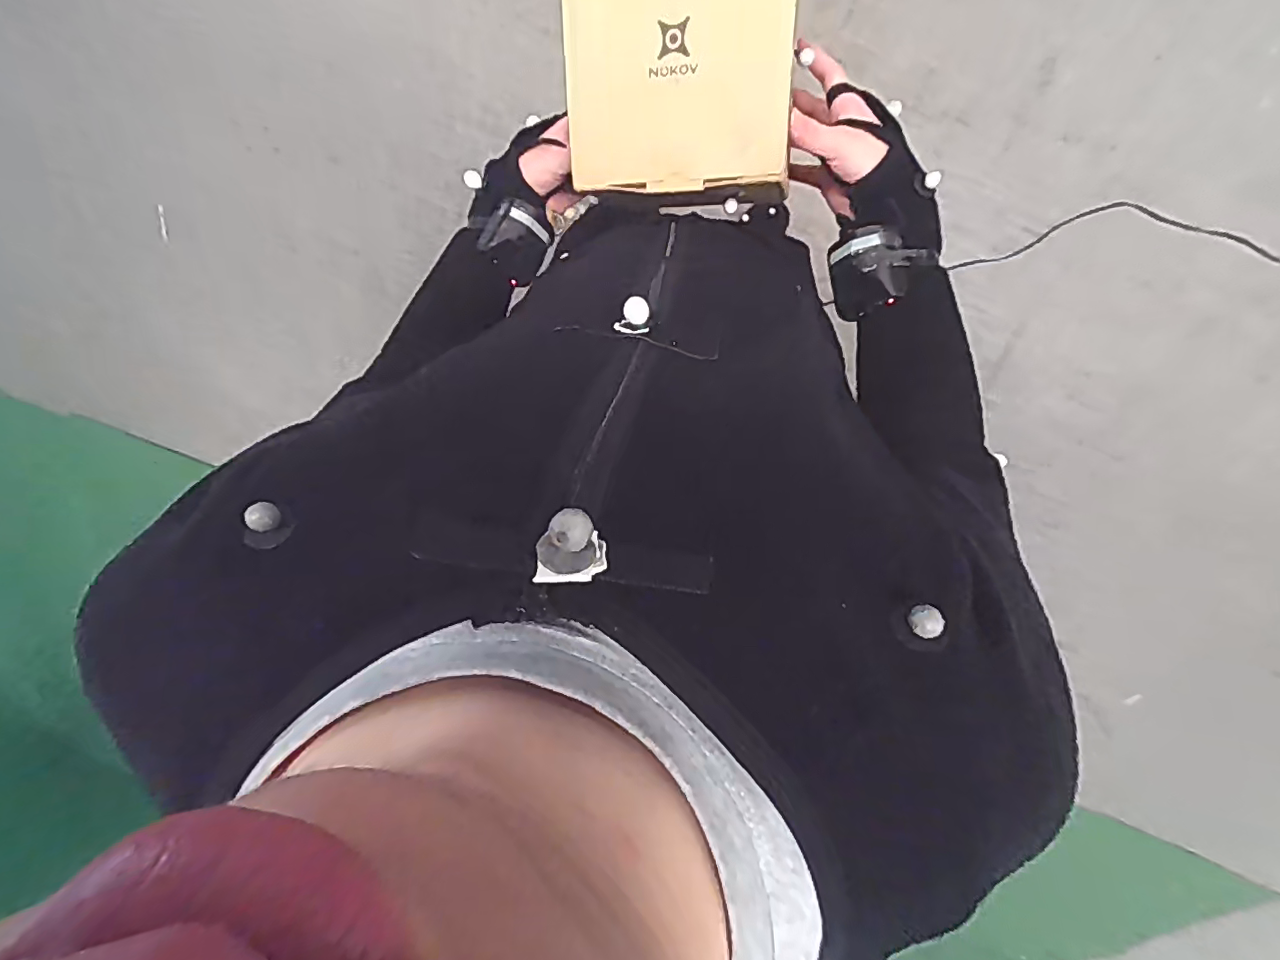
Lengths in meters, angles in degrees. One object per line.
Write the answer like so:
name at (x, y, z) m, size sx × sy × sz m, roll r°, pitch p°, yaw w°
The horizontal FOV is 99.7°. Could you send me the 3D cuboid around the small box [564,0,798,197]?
small box at (0.043, -0.343, 0.455) m, size 0.168 × 0.176 × 0.179 m, roll 4°, pitch 112°, yaw 13°
